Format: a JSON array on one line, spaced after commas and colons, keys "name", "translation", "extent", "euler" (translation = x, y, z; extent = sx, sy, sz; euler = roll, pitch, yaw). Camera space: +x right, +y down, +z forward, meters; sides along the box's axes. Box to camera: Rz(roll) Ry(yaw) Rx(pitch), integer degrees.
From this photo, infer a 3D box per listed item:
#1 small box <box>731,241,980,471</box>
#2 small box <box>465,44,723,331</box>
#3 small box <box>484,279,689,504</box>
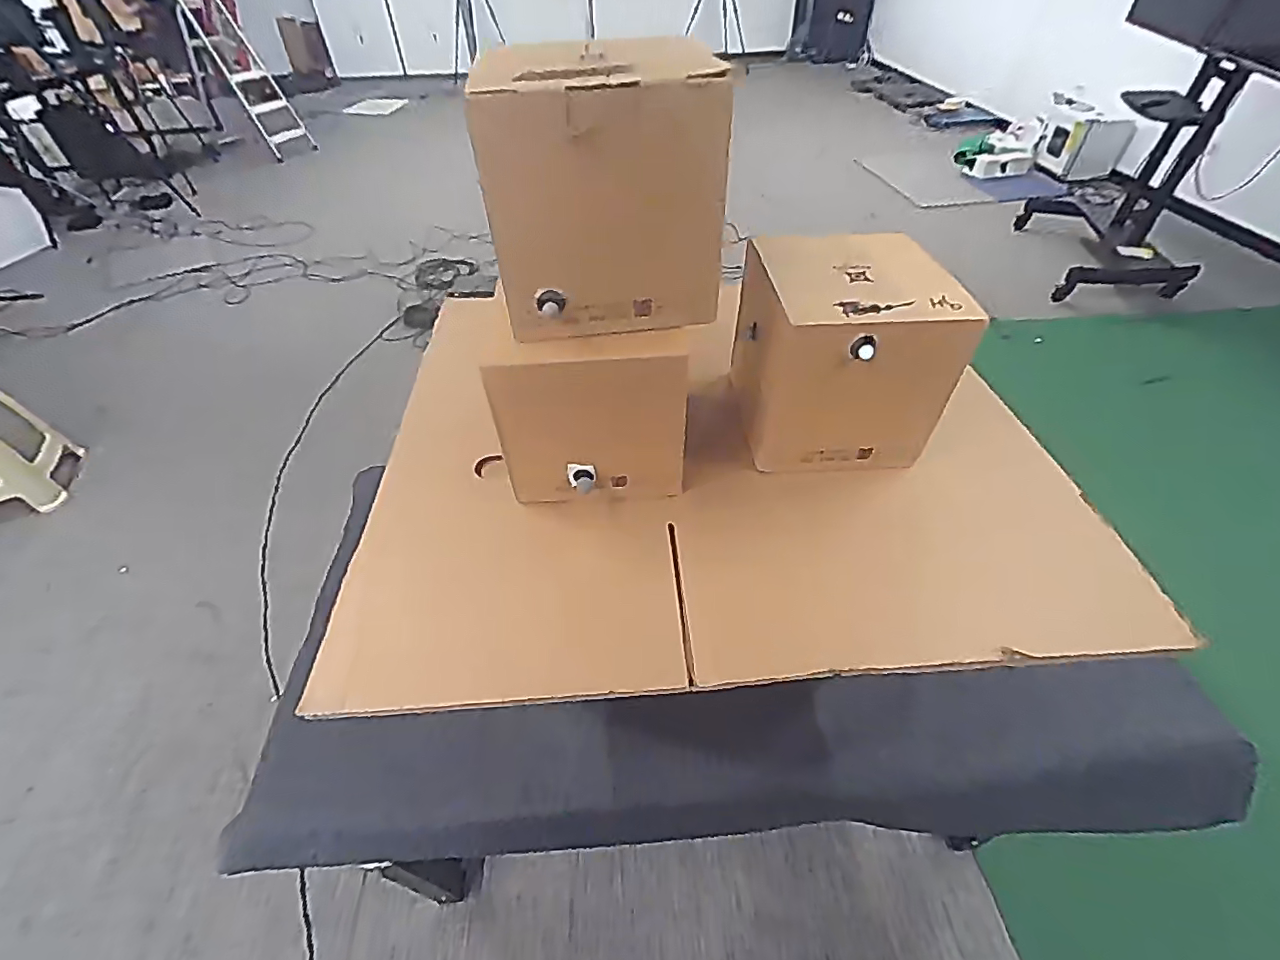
[{"name": "small box", "translation": [0.194, -0.127, 0.554], "extent": [0.168, 0.176, 0.179], "euler": [-2, 45, -2]}, {"name": "small box", "translation": [-0.033, -0.235, 0.446], "extent": [0.168, 0.176, 0.179], "euler": [-6, 45, -4]}, {"name": "small box", "translation": [-0.045, -0.097, 0.542], "extent": [0.168, 0.176, 0.179], "euler": [-4, 48, -1]}]
